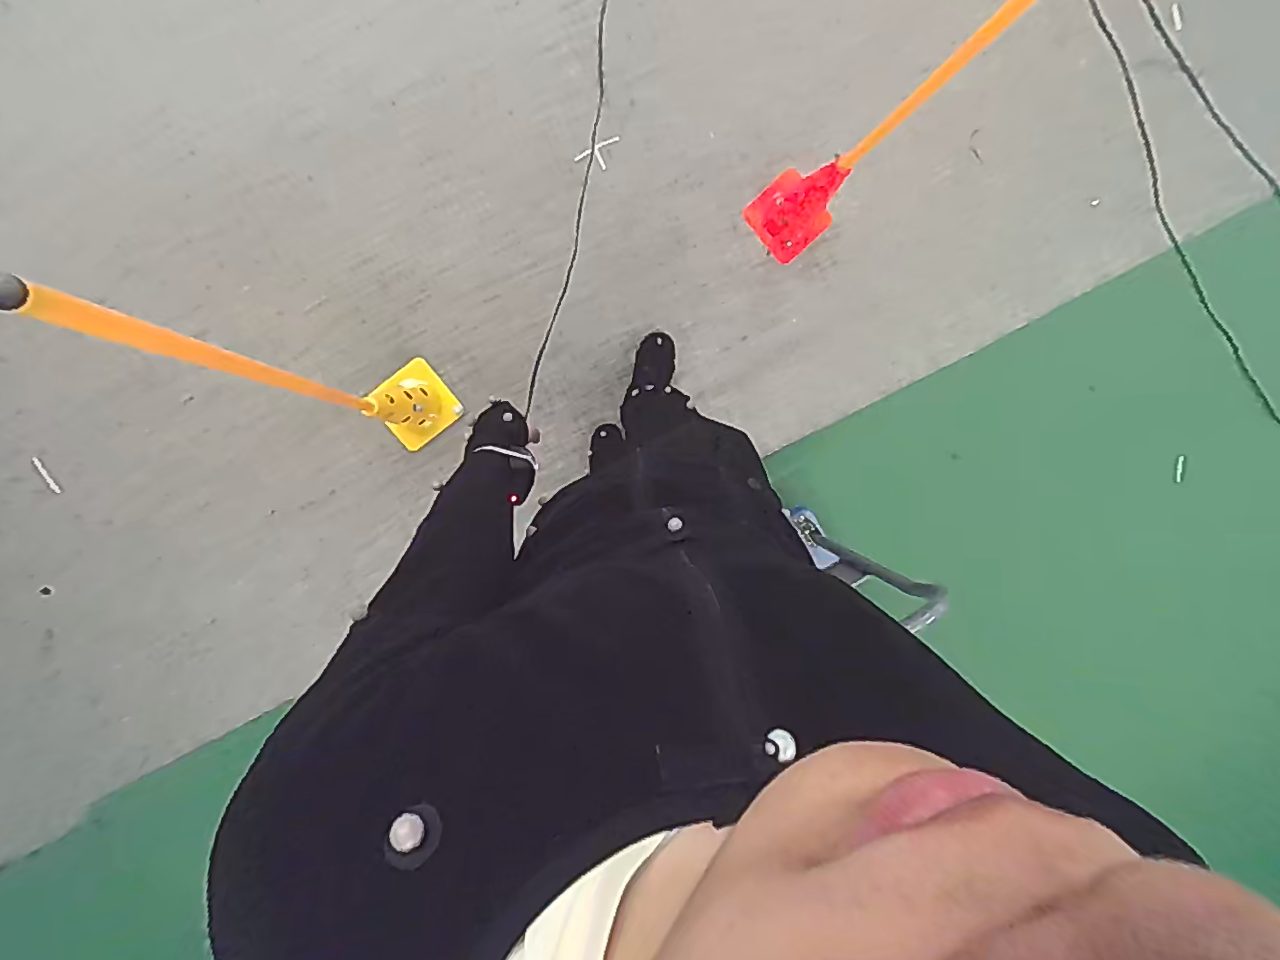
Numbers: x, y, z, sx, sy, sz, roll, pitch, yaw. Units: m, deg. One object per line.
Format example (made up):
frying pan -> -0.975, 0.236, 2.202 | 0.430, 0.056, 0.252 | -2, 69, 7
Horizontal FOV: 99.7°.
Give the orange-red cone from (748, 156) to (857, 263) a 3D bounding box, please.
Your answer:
orange-red cone -> 0.447, -0.726, 1.370 | 0.199, 0.360, 0.198 | -42, 100, 0
